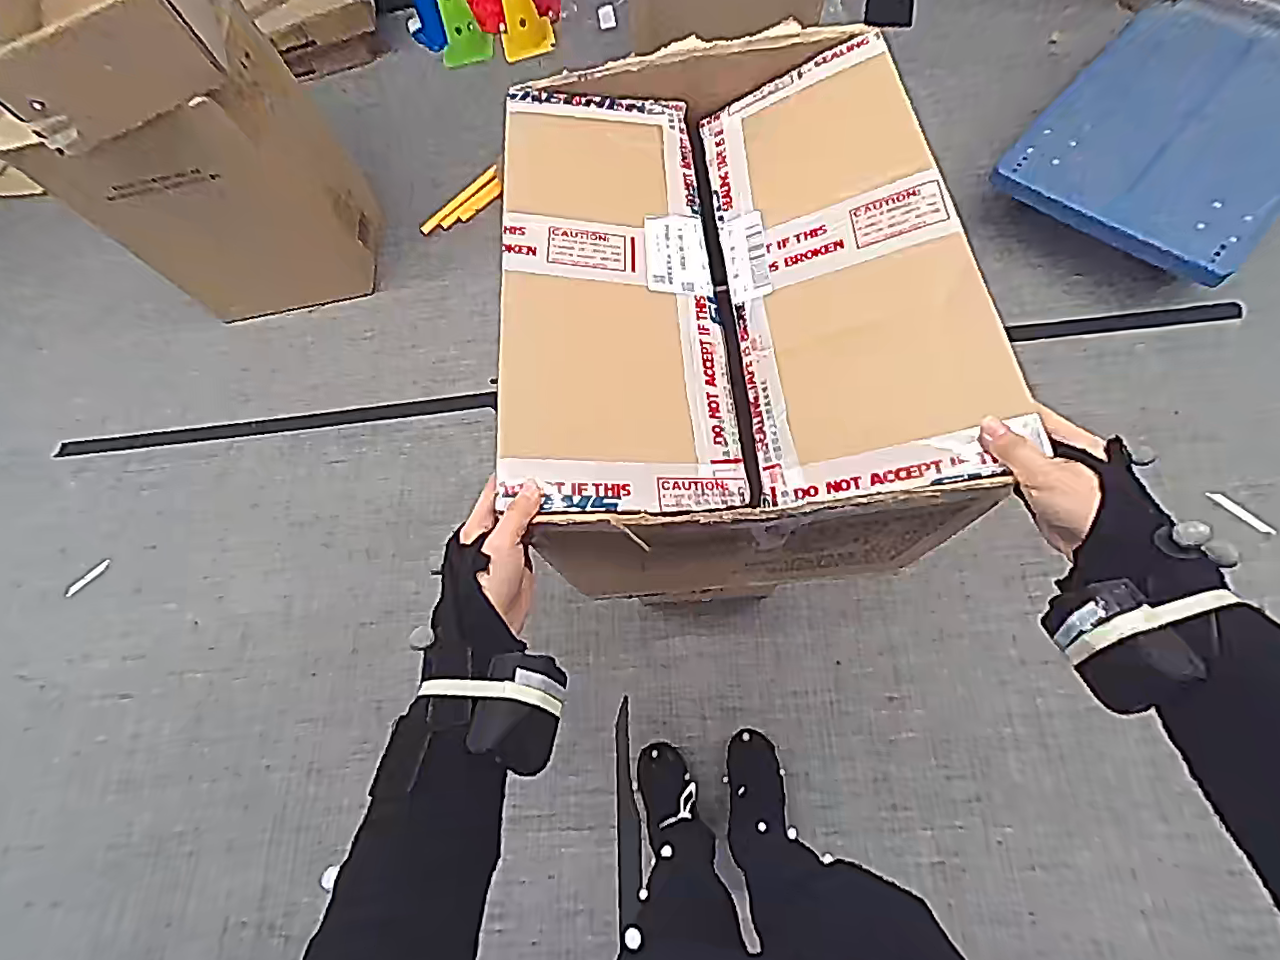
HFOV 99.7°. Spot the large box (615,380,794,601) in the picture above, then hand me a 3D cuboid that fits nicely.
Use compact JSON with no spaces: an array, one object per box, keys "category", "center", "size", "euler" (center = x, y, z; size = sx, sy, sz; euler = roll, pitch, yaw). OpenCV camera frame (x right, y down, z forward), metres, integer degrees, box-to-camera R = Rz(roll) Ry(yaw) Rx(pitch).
[{"category":"large box","center":[0.132,0.040,1.211],"size":[0.320,0.320,0.408],"euler":[-6,70,5]}]
